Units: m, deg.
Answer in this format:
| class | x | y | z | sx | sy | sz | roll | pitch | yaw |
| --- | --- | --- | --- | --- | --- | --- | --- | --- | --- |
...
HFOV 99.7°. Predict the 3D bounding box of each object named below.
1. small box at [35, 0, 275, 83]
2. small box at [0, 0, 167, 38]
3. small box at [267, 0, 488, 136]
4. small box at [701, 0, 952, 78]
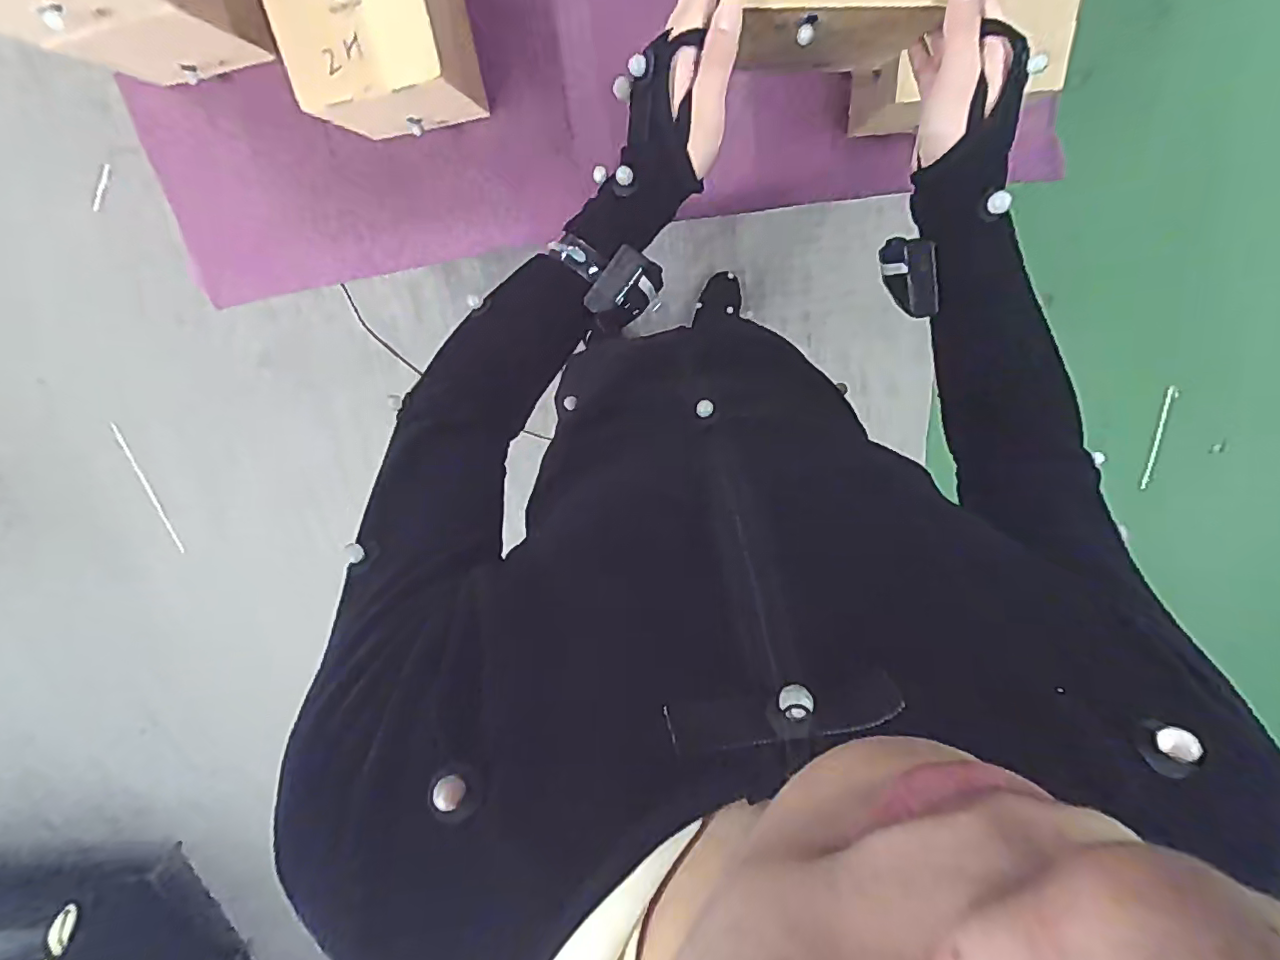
| class | x | y | z | sx | sy | sz | roll | pitch | yaw |
| --- | --- | --- | --- | --- | --- | --- | --- | --- | --- |
| small box | -0.566 | -0.586 | 0.607 | 0.168 | 0.176 | 0.179 | -8 | 113 | 7 |
| small box | -0.574 | -0.523 | 0.456 | 0.168 | 0.176 | 0.179 | -8 | 113 | 7 |
| small box | -0.293 | -0.522 | 0.619 | 0.168 | 0.176 | 0.179 | -7 | 113 | 6 |
| small box | 0.136 | -0.434 | 0.409 | 0.168 | 0.176 | 0.179 | 2 | 115 | 3 |
